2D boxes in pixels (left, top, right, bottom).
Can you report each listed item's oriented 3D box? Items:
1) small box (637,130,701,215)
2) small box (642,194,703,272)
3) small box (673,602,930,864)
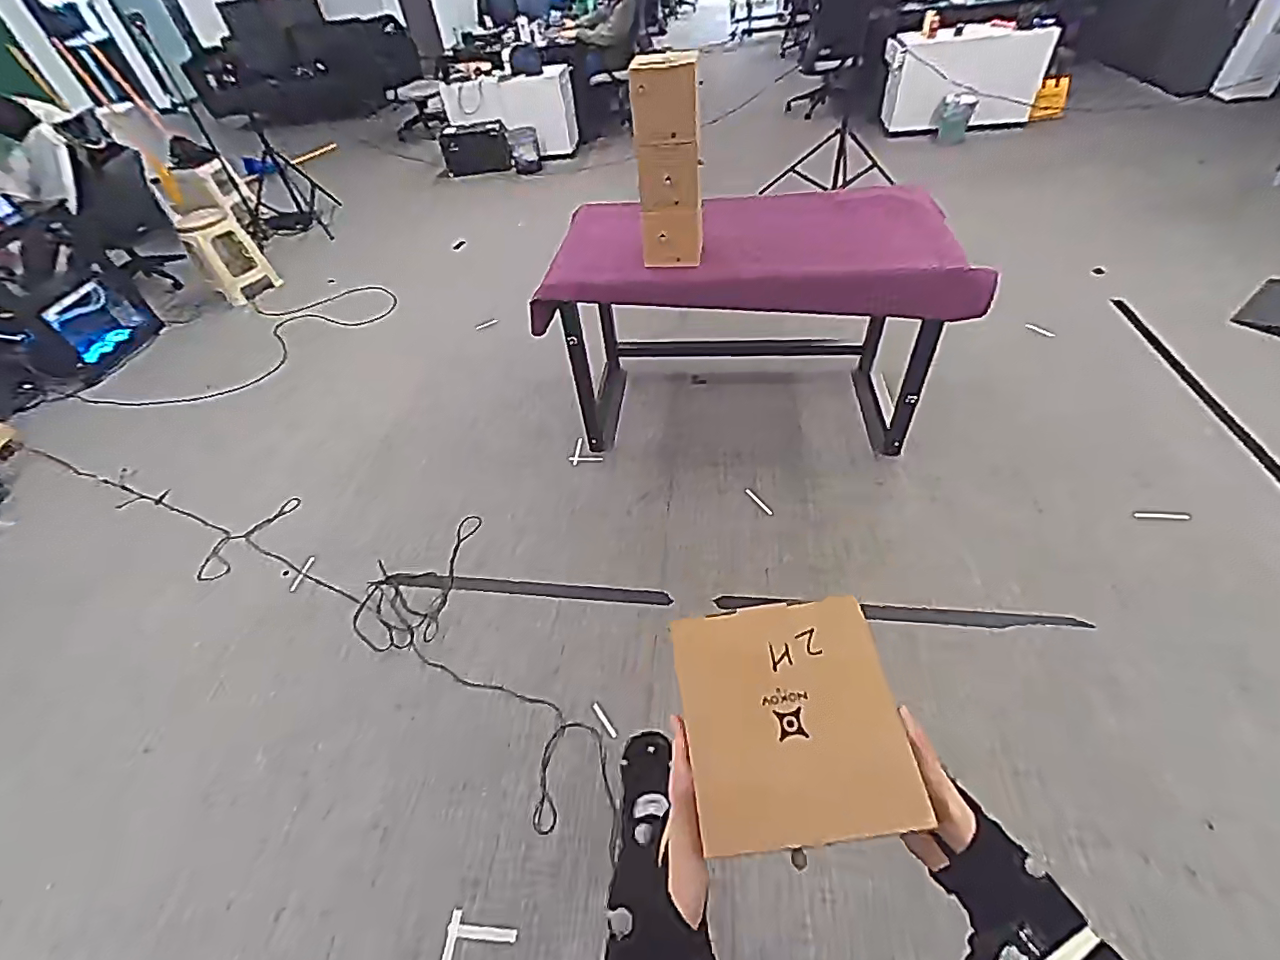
[{"bbox_3d":[0.088,-0.868,1.536,0.168,0.176,0.179,1,47,7],"label":"small box"},{"bbox_3d":[0.104,-0.751,1.650,0.168,0.176,0.179,2,46,9],"label":"small box"},{"bbox_3d":[0.125,0.233,0.494,0.168,0.176,0.179,-8,55,0],"label":"small box"}]
